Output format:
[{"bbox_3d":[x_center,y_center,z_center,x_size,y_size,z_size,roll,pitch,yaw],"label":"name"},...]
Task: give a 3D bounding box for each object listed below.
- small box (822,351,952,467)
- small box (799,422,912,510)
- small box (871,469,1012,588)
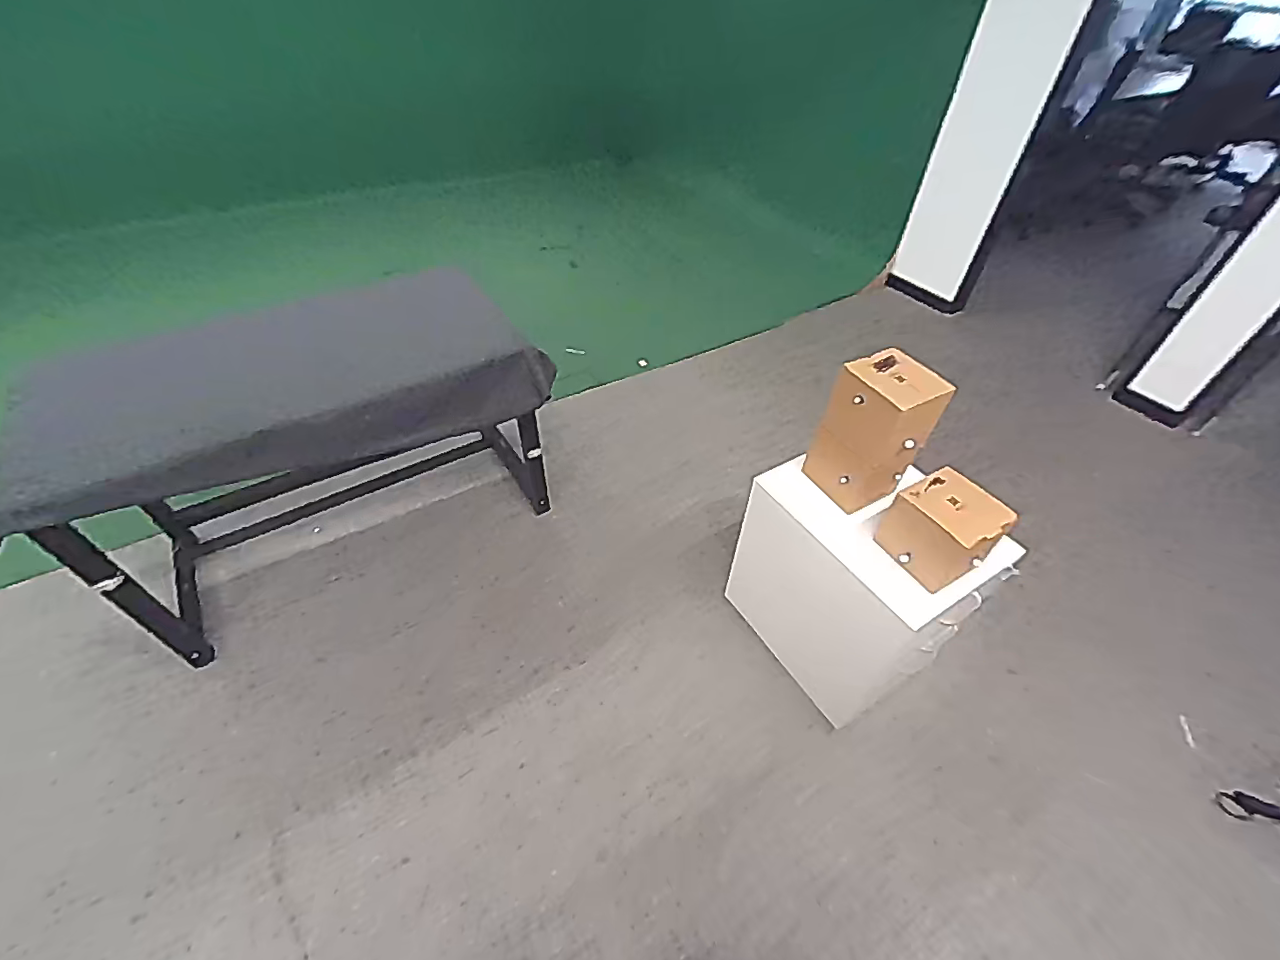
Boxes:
[{"bbox_3d":[0.542,-0.160,1.213,0.168,0.176,0.179,-21,53,-23],"label":"small box"},{"bbox_3d":[0.526,-0.048,1.333,0.168,0.176,0.179,-21,50,-24],"label":"small box"},{"bbox_3d":[0.648,0.112,1.184,0.168,0.176,0.179,-21,51,-22],"label":"small box"}]
